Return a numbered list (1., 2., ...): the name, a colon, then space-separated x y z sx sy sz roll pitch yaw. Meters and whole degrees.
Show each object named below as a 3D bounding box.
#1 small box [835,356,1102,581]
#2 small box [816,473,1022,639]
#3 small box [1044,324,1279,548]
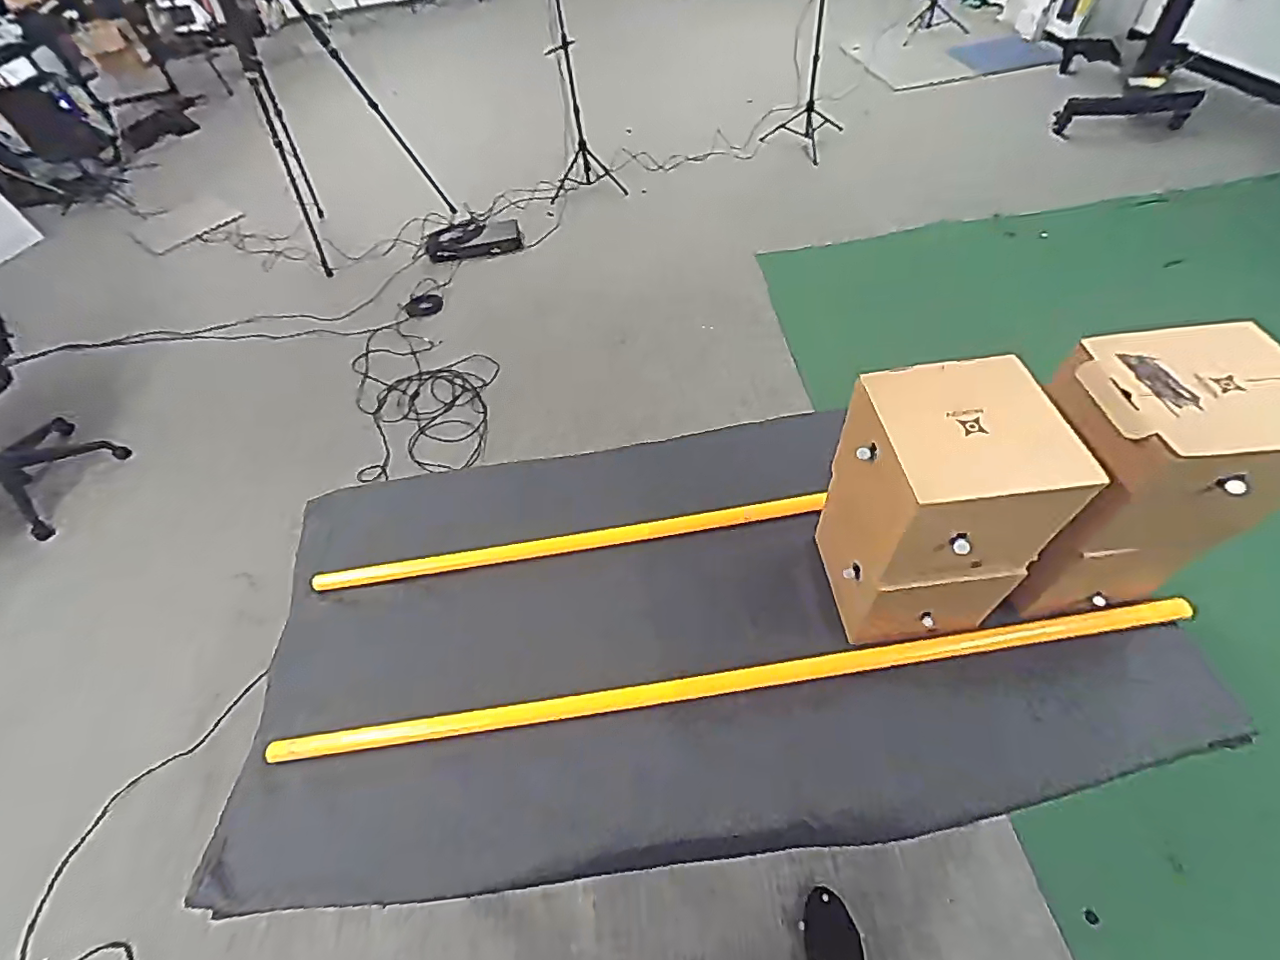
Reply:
1. small box: 0.324 -0.004 0.583 0.168 0.176 0.179 -8 52 3
2. small box: 0.344 0.098 0.709 0.168 0.176 0.179 -7 52 2
3. small box: 0.551 -0.039 0.576 0.179 0.176 0.168 -5 53 3
